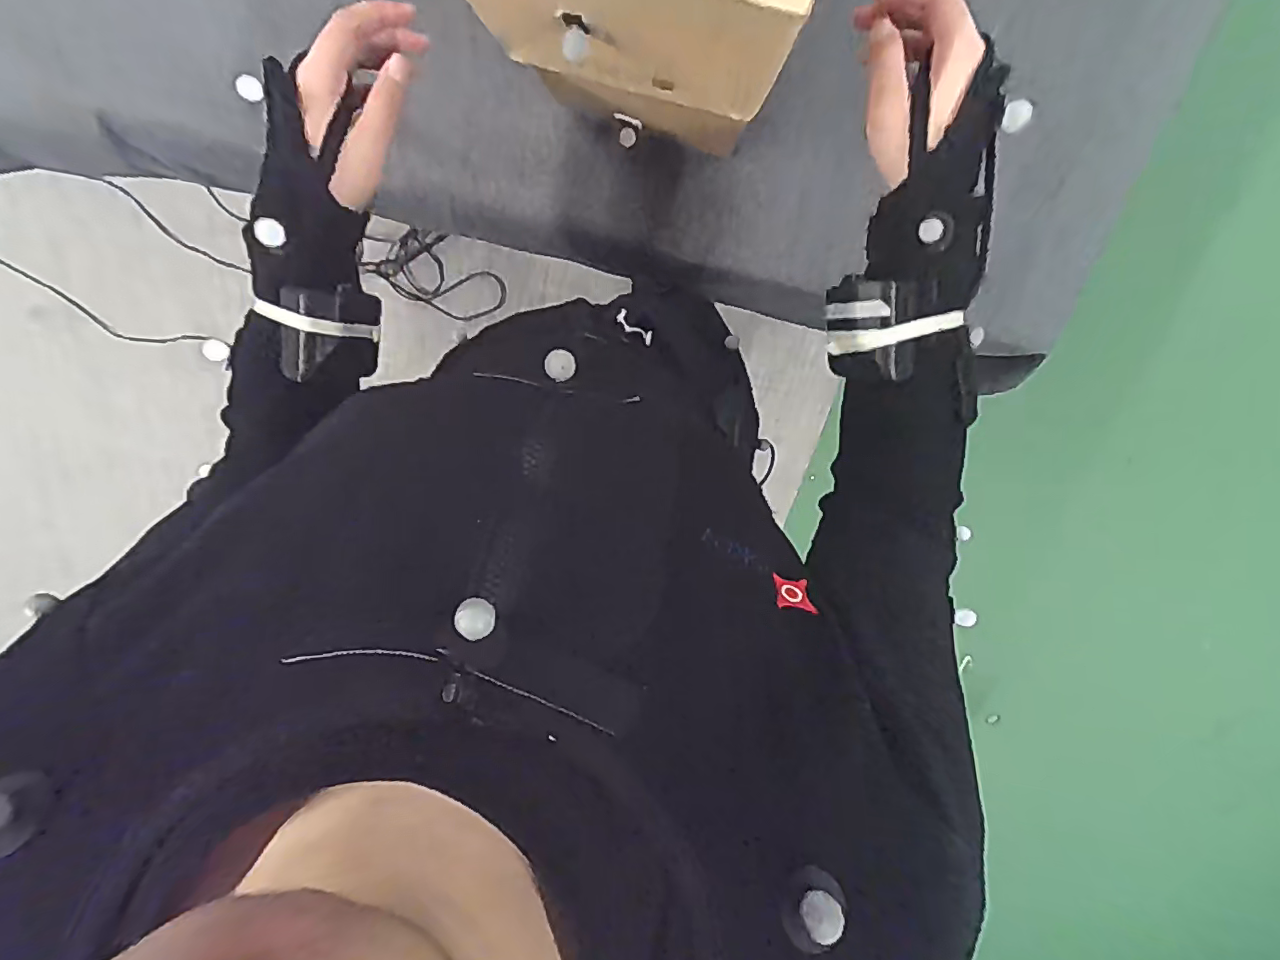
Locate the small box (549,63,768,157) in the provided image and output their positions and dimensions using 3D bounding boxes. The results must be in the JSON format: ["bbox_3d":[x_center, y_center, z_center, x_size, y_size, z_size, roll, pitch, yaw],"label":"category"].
[{"bbox_3d":[0.027,-0.365,0.394,0.168,0.176,0.179,15,113,-2],"label":"small box"}]
